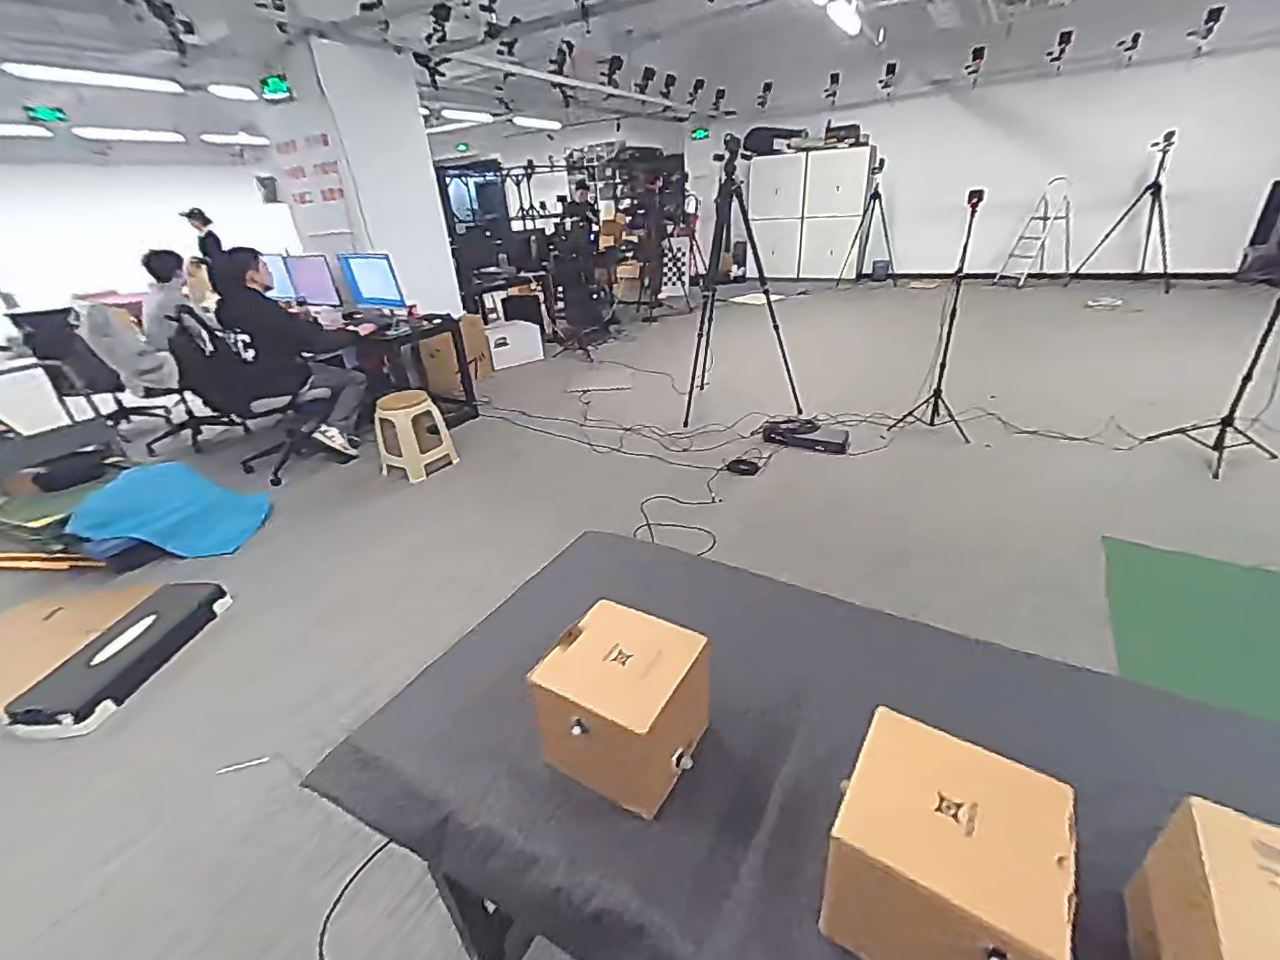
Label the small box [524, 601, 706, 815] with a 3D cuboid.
[{"bbox_3d":[-0.025,0.295,0.716,0.179,0.176,0.168,14,33,28],"label":"small box"}]

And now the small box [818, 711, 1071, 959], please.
[{"bbox_3d":[0.286,0.373,0.523,0.179,0.176,0.168,15,32,32],"label":"small box"}]
